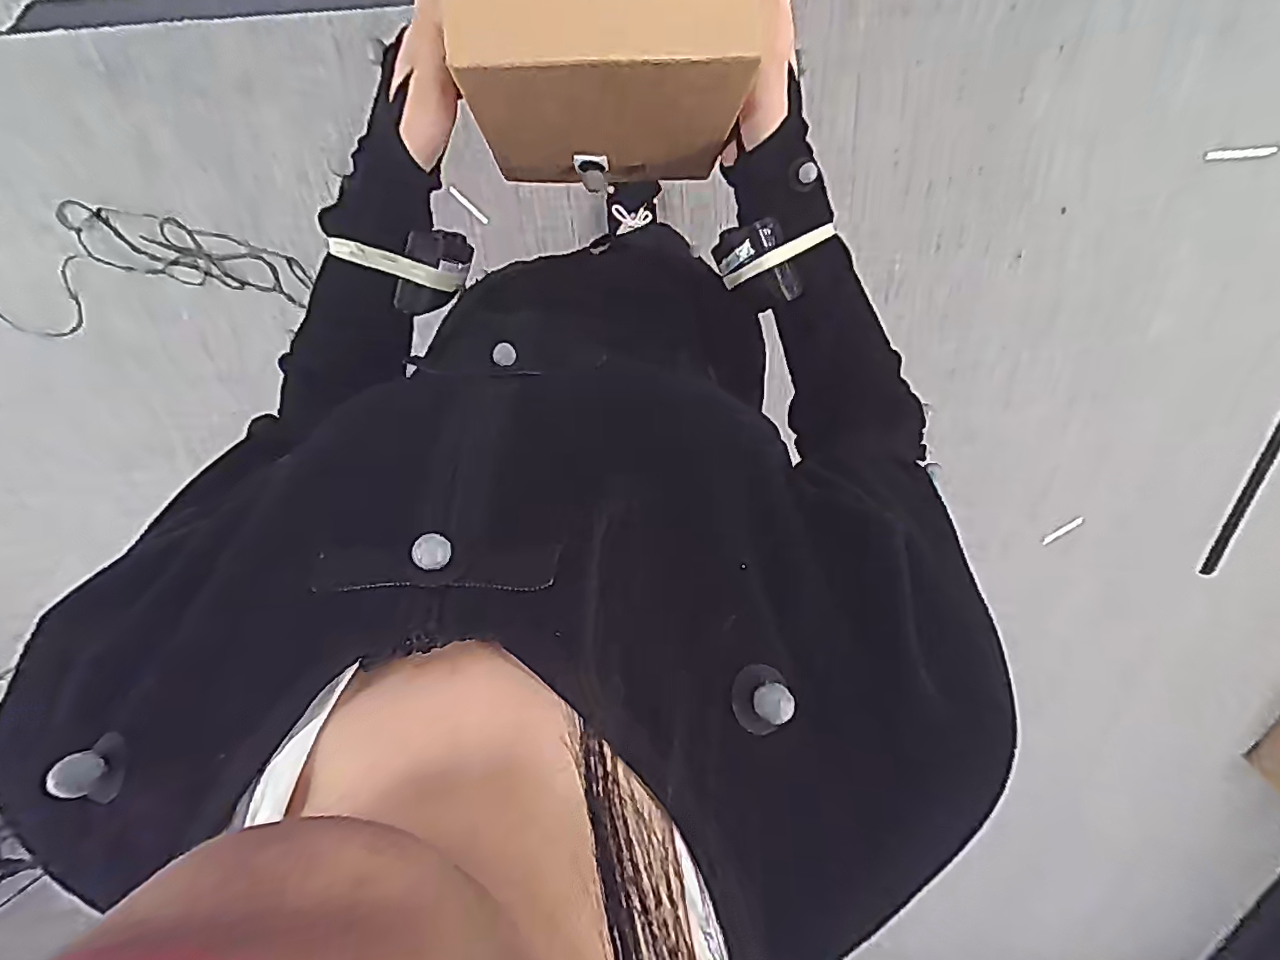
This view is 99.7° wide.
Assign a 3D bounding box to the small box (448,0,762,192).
[{"bbox_3d":[-0.024,-0.312,0.351,0.168,0.176,0.179,-4,100,-2],"label":"small box"}]
